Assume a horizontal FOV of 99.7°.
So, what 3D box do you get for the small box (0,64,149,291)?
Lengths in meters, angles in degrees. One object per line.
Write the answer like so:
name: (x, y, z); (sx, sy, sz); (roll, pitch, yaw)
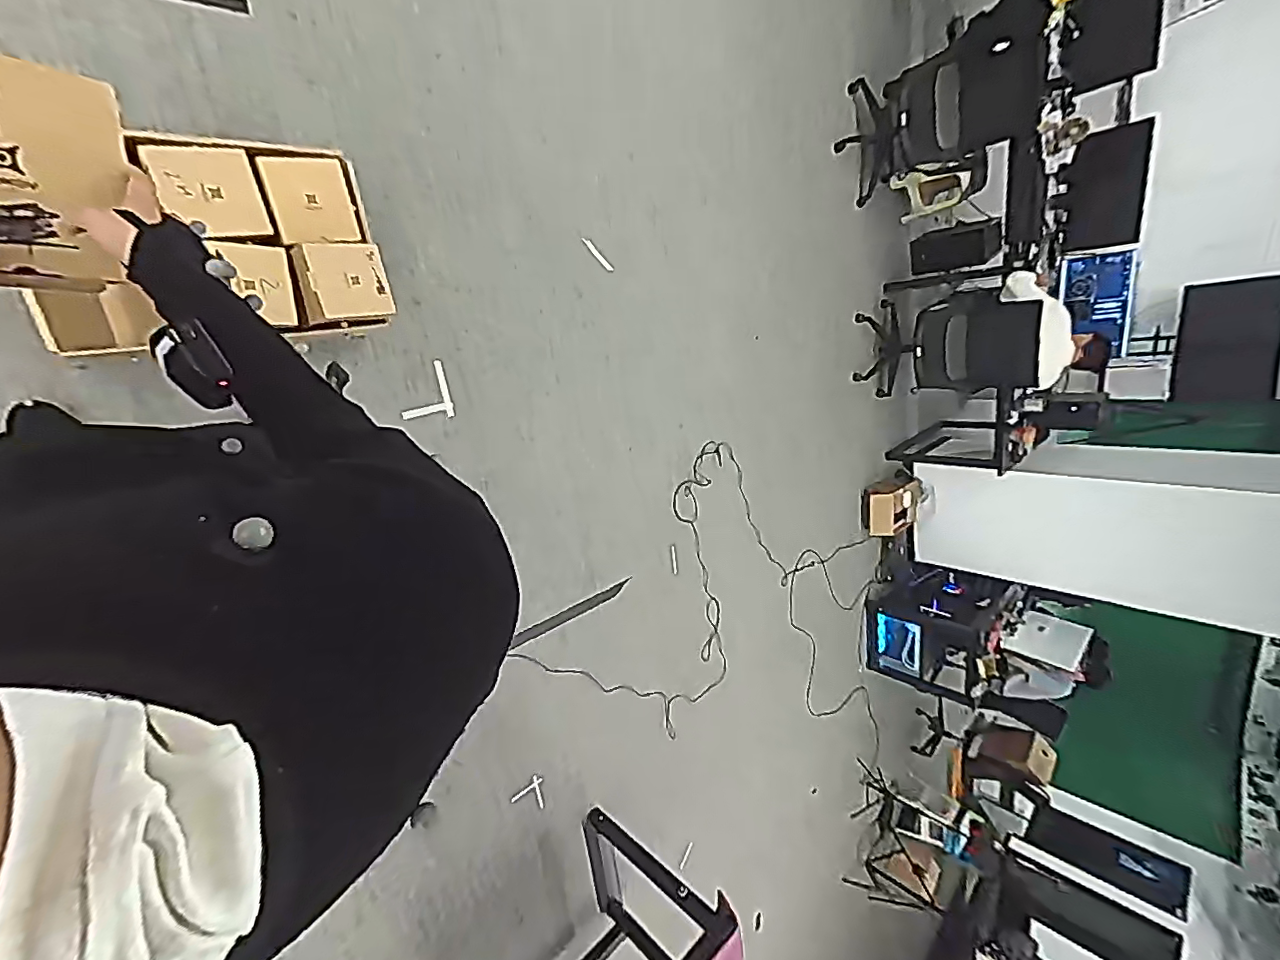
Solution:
small box: (-0.600, -0.288, 0.519); (0.168, 0.176, 0.179); (-12, 118, -44)
